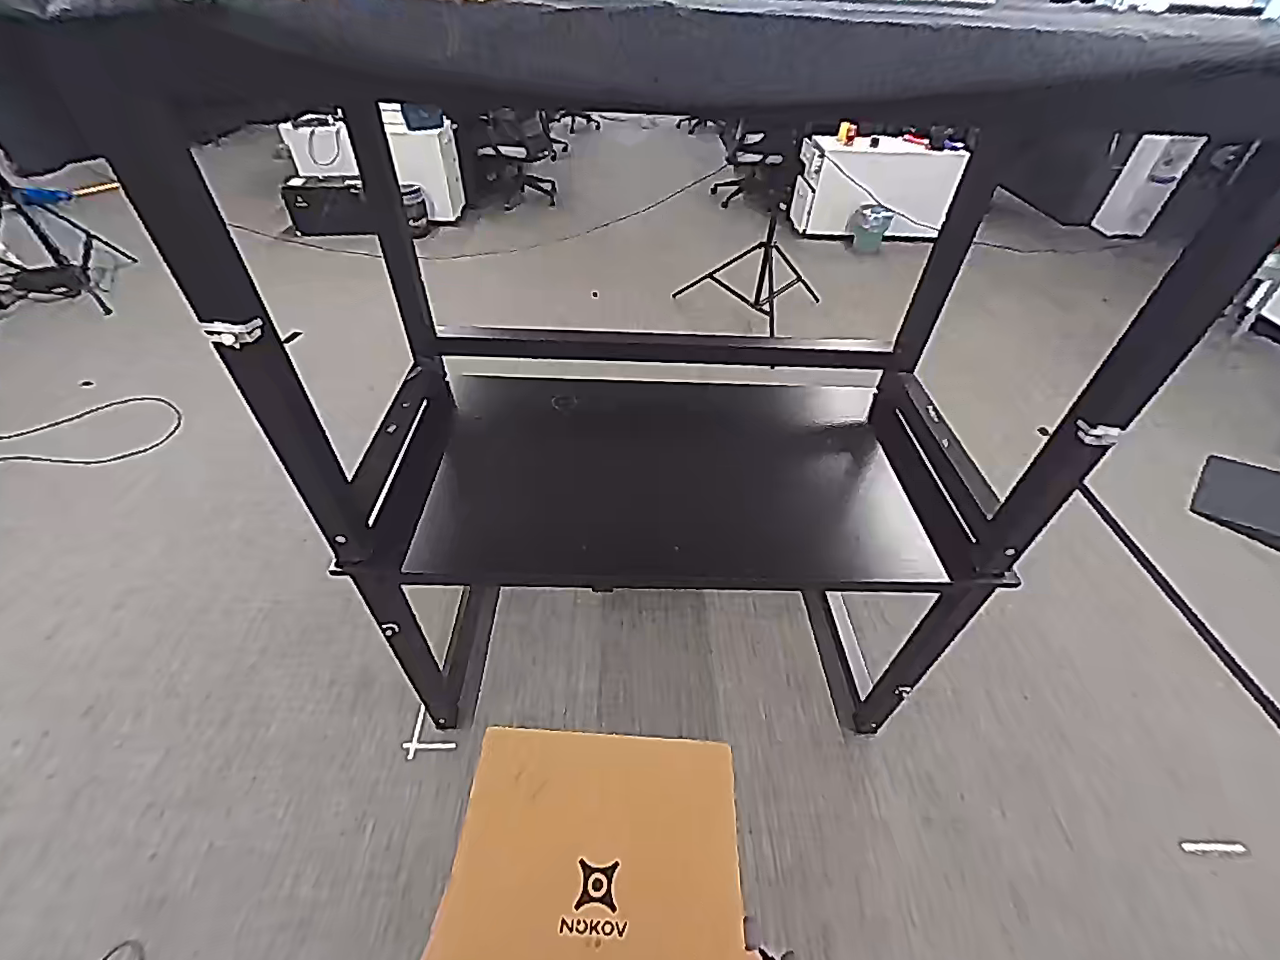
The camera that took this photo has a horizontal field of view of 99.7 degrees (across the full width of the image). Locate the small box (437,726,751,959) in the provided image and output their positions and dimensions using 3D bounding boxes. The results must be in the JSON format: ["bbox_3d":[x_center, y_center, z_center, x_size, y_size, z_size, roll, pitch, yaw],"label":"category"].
[{"bbox_3d":[-0.028,0.288,0.355,0.168,0.176,0.179,4,44,-1],"label":"small box"}]
